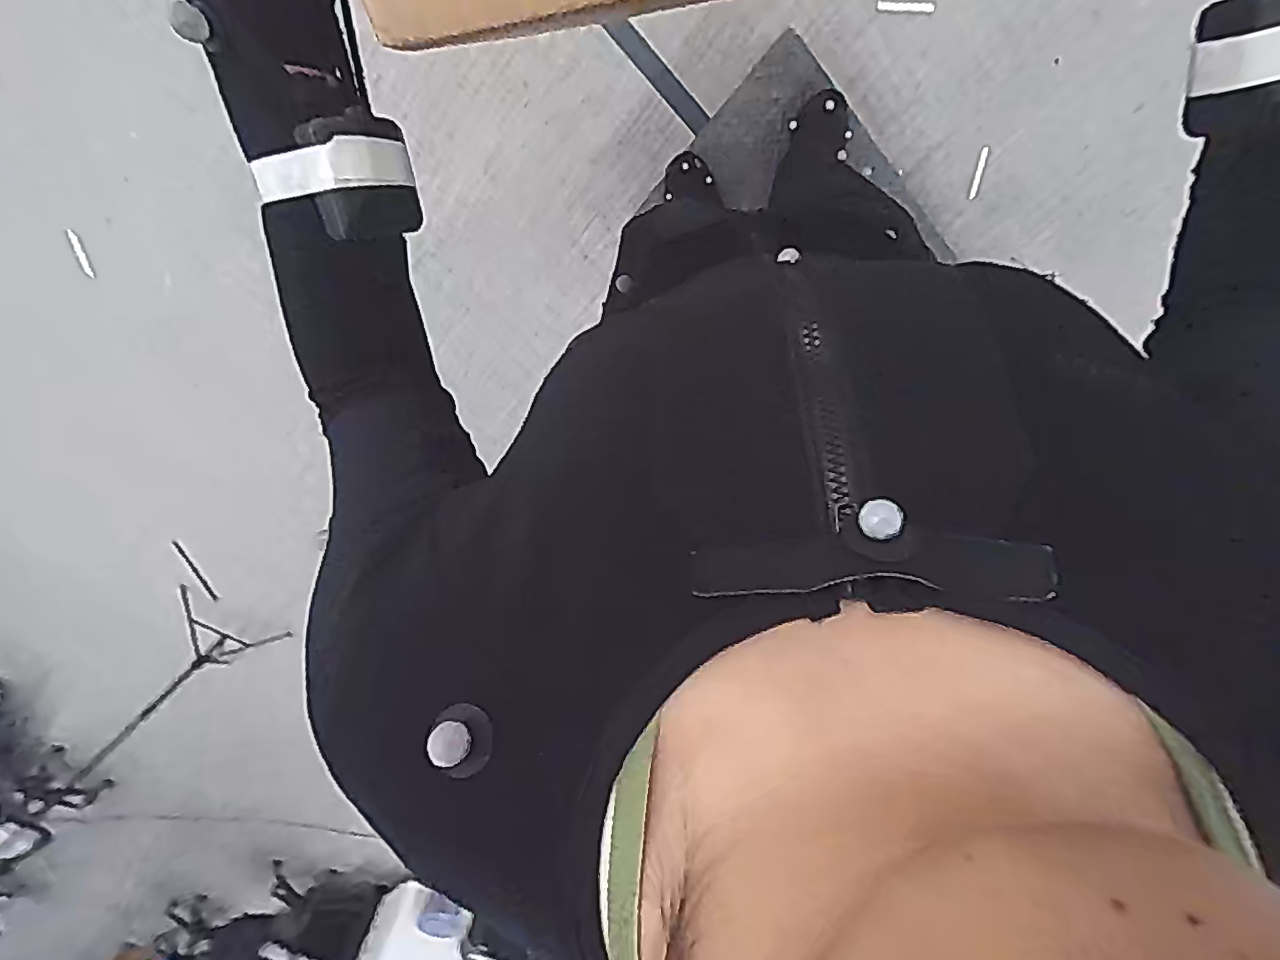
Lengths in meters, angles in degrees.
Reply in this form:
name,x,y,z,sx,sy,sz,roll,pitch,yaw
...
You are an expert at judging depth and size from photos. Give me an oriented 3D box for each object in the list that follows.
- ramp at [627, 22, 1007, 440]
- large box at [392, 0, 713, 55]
name,x,y,z,sx,sy,sz,roll,pitch,yaw
ramp,0.495,-0.518,1.388,0.991,0.206,0.509,38,118,-17
large box,0.056,-0.462,0.282,0.408,0.320,0.320,-3,129,9
